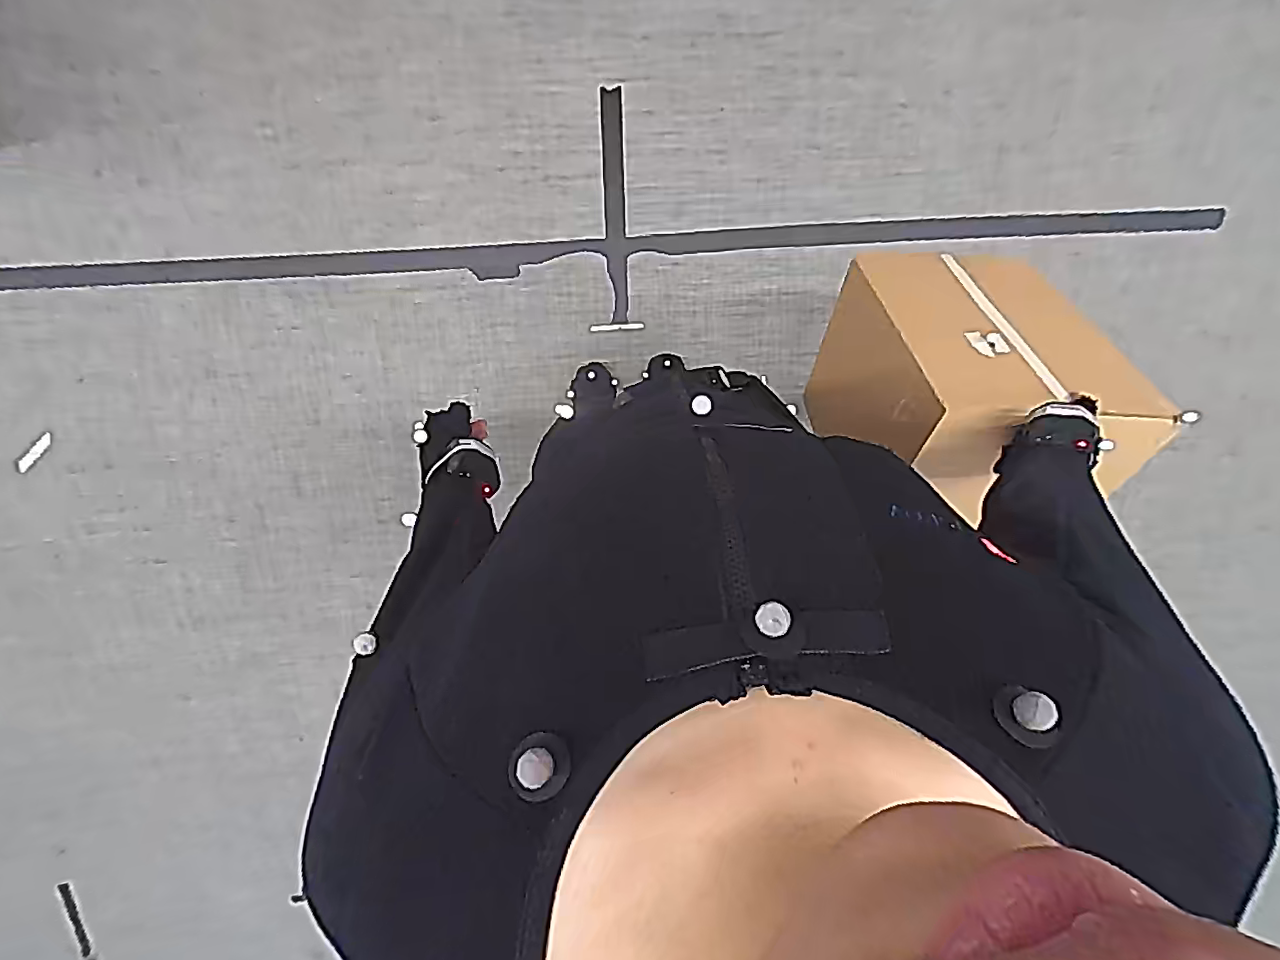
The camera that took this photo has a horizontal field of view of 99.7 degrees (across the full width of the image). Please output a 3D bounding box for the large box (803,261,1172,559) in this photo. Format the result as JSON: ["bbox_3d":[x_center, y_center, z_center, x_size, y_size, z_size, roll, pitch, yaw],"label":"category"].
[{"bbox_3d":[0.511,-0.119,0.917,0.320,0.408,0.320,2,139,-4],"label":"large box"}]
